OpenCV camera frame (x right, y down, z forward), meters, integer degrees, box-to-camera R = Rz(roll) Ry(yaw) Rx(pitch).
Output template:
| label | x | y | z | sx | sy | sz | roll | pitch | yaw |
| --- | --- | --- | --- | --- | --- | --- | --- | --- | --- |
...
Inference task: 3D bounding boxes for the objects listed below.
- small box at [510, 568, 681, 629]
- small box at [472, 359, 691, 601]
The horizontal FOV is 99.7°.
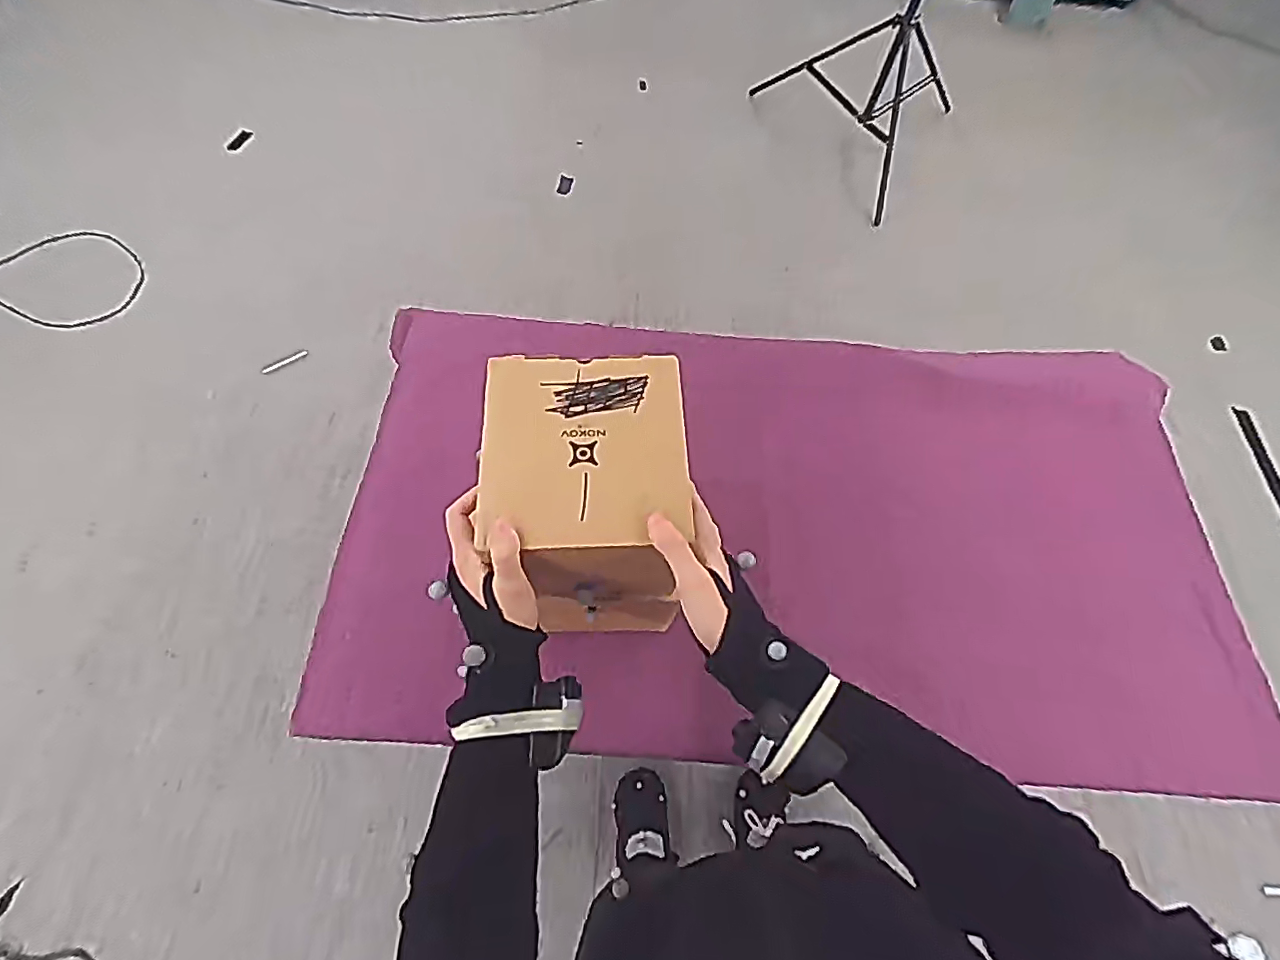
| label | x | y | z | sx | sy | sz | roll | pitch | yaw |
| --- | --- | --- | --- | --- | --- | --- | --- | --- | --- |
| small box | -0.049 | 0.083 | 0.654 | 0.179 | 0.176 | 0.168 | 1 | 65 | -2 |
| small box | -0.050 | 0.007 | 0.508 | 0.168 | 0.176 | 0.179 | -1 | 66 | -3 |
